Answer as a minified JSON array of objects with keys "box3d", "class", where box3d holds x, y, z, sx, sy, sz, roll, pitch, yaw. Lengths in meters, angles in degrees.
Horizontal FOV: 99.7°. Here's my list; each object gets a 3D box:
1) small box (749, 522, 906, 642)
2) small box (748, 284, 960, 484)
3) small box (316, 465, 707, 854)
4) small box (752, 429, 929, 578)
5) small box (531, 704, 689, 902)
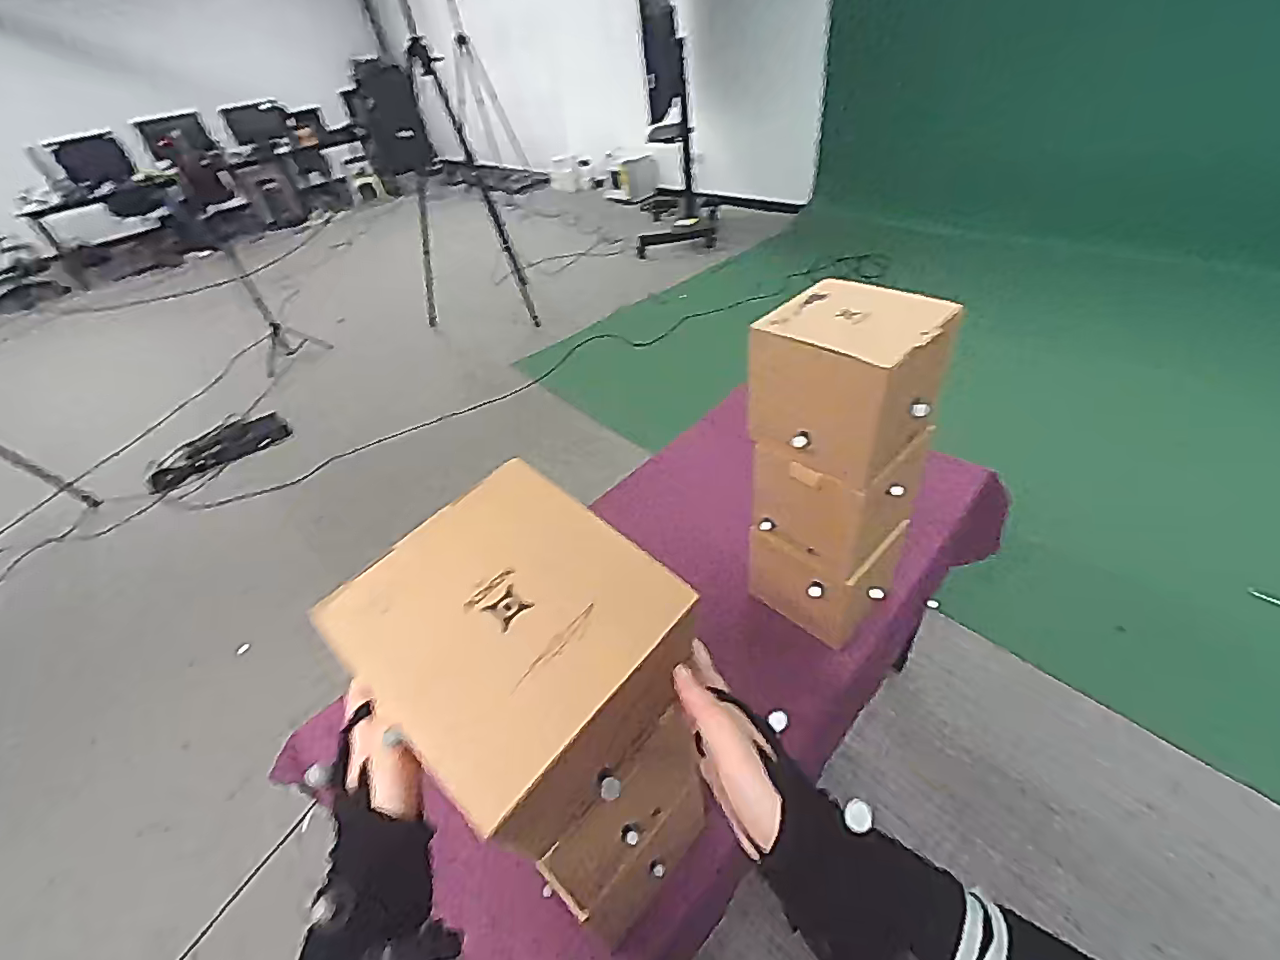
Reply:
[{"box3d":[0.297,0.136,0.882,0.168,0.176,0.179,-35,47,-28],"class":"small box"},{"box3d":[0.254,-0.118,0.677,0.168,0.176,0.179,-35,48,-27],"class":"small box"},{"box3d":[-0.077,0.129,0.383,0.179,0.176,0.168,35,60,24],"class":"small box"},{"box3d":[0.279,0.007,0.780,0.179,0.176,0.168,-34,47,-28],"class":"small box"},{"box3d":[-0.068,0.271,0.542,0.179,0.176,0.168,28,53,35],"class":"small box"}]
